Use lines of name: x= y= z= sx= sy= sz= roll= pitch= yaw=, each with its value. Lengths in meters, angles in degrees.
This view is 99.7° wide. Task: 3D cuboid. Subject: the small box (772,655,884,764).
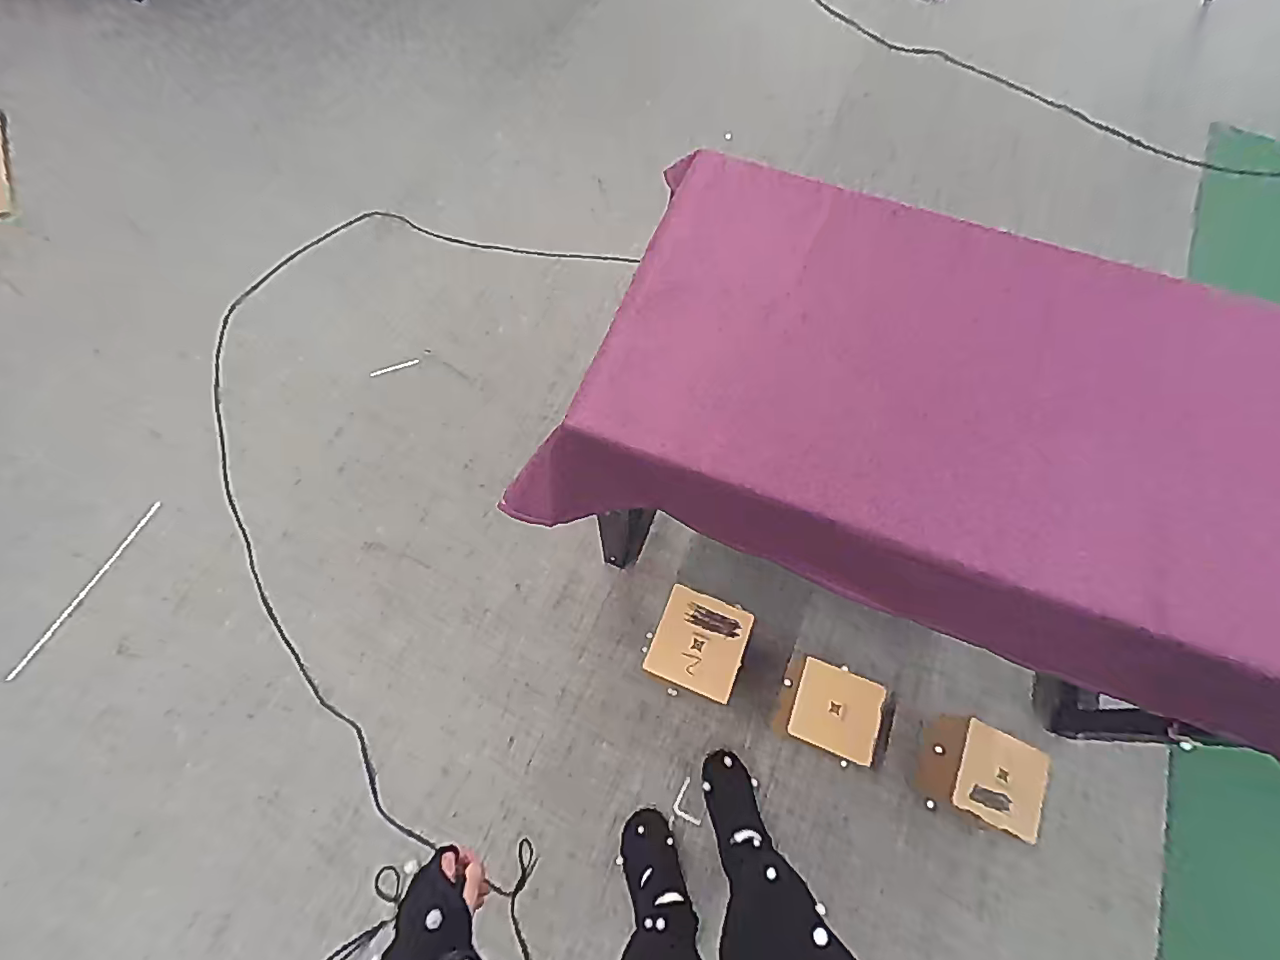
small box: x=0.409 y=0.509 z=1.202 sx=0.179 sy=0.176 sz=0.168 roll=20 pitch=68 yaw=8
